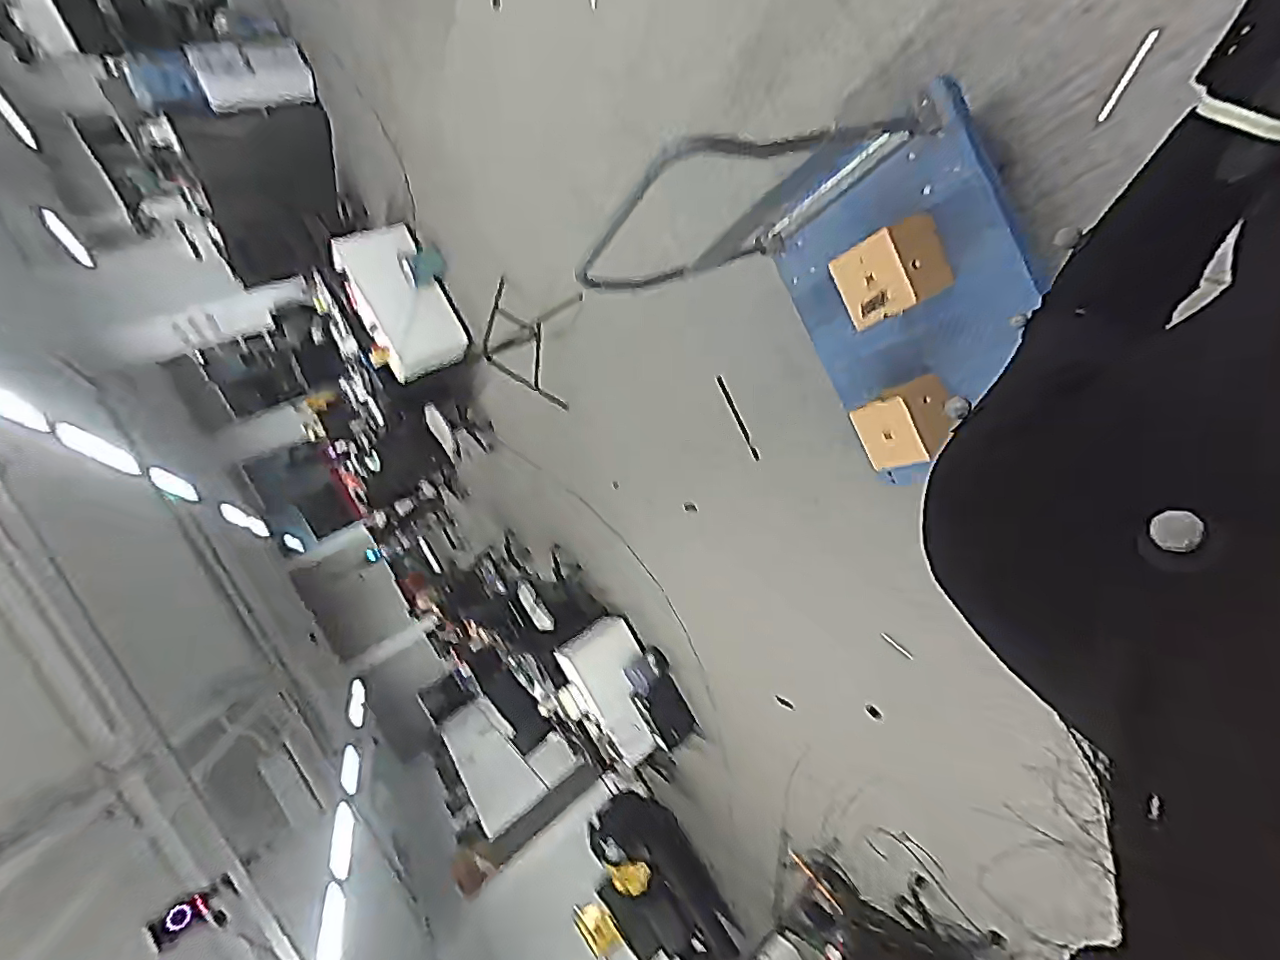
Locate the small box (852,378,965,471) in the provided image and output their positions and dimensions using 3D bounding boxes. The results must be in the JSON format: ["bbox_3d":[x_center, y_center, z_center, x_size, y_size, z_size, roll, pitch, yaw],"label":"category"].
[{"bbox_3d":[0.697,-0.148,1.404,0.179,0.176,0.168,62,153,-4],"label":"small box"}]

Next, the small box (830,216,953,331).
[{"bbox_3d":[0.589,-0.481,1.260,0.179,0.176,0.168,63,153,-5],"label":"small box"}]
